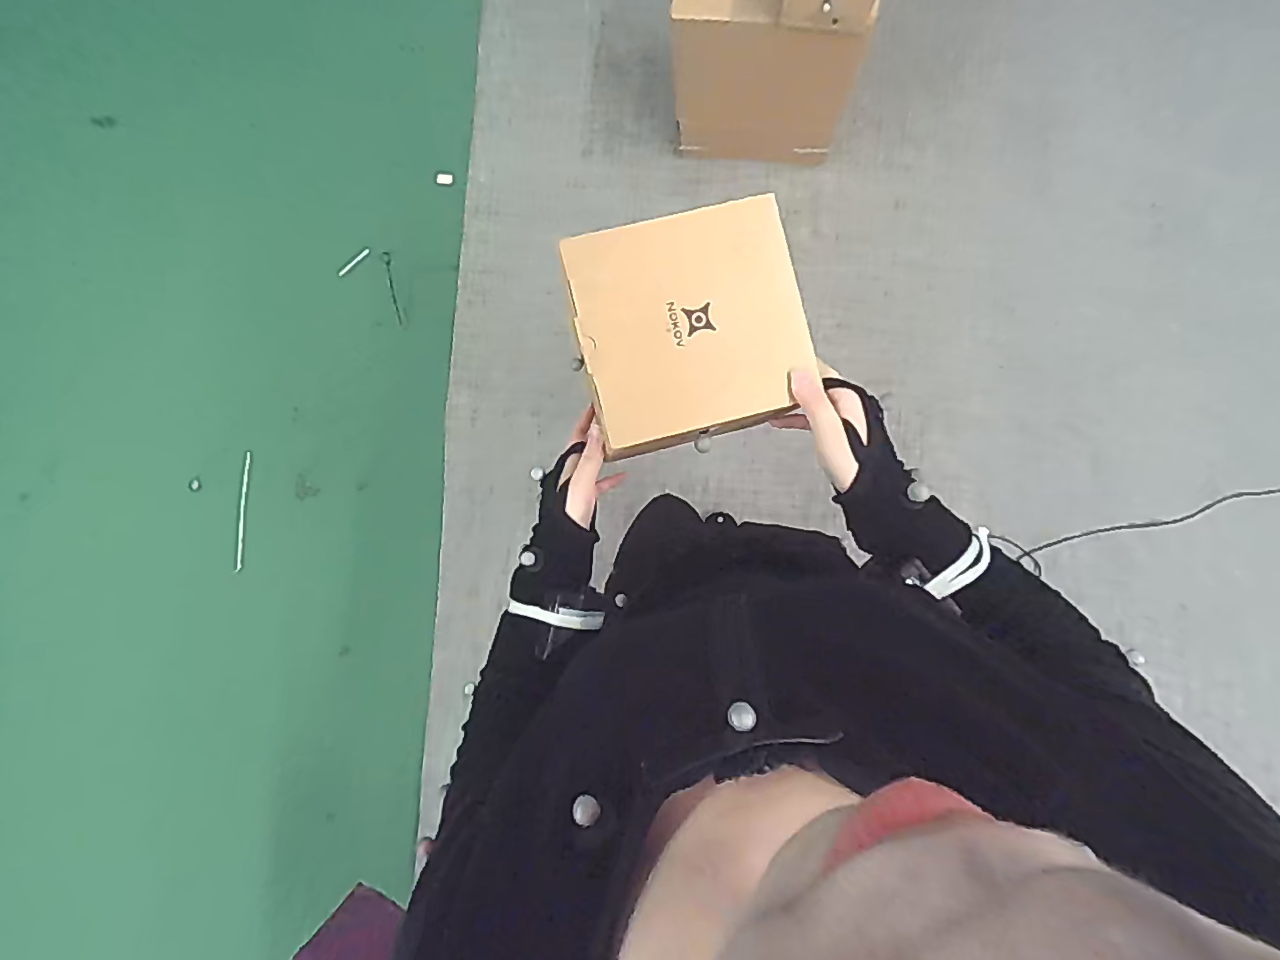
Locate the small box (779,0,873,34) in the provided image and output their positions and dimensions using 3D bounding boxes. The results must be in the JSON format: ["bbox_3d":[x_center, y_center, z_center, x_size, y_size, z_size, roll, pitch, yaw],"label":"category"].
[{"bbox_3d":[0.354,-0.960,0.969,0.168,0.176,0.179,10,88,7],"label":"small box"}]

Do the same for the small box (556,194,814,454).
[{"bbox_3d":[0.031,-0.125,0.496,0.179,0.176,0.168,-13,89,-3],"label":"small box"}]
